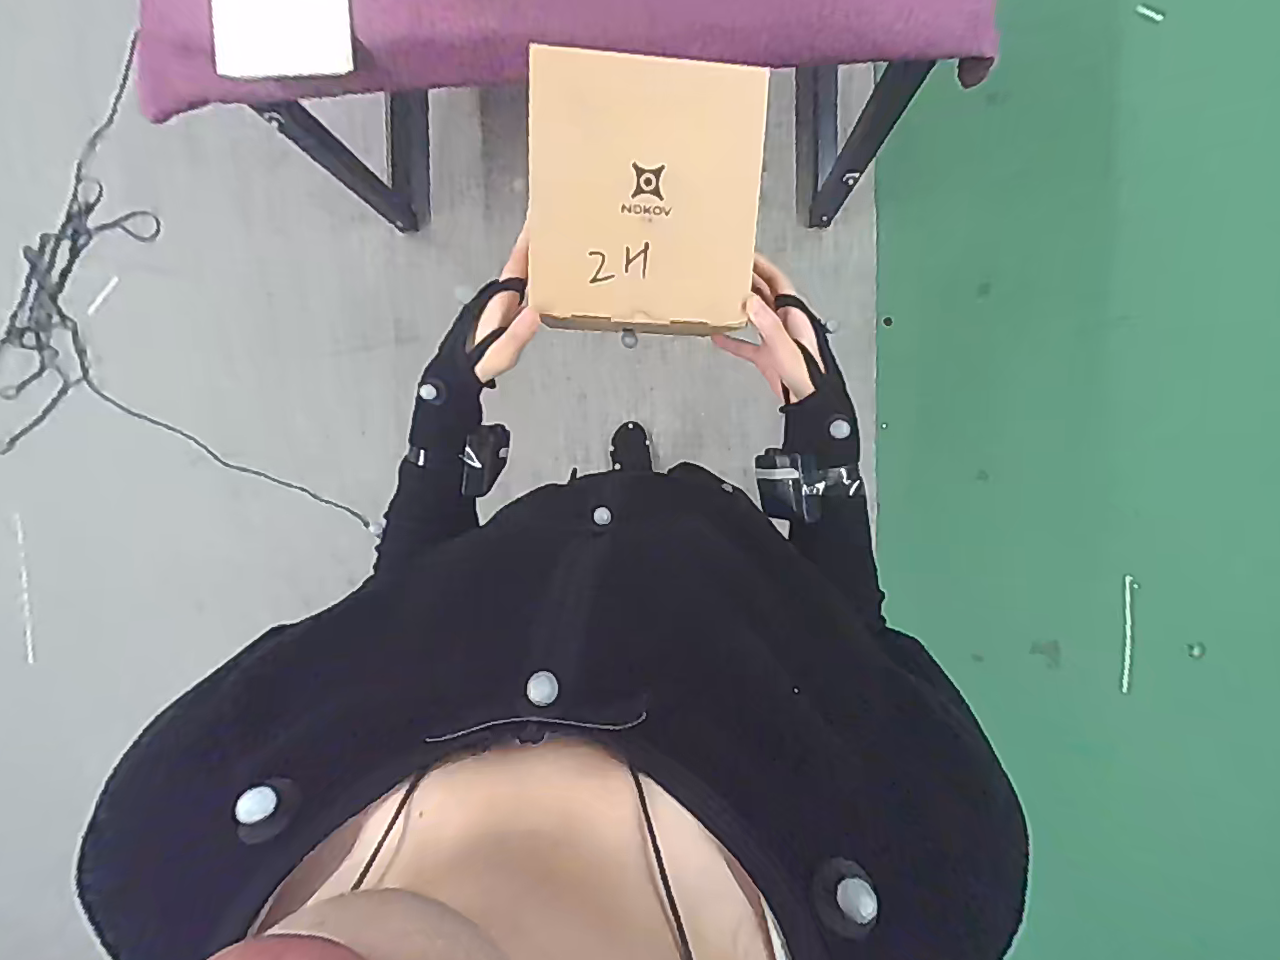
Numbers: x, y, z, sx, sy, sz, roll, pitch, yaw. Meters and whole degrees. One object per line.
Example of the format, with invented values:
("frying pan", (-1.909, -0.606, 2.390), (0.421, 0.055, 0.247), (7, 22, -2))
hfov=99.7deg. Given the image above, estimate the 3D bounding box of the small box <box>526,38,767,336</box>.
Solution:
("small box", (-0.003, -0.225, 0.465), (0.168, 0.176, 0.179), (3, 102, -5))
